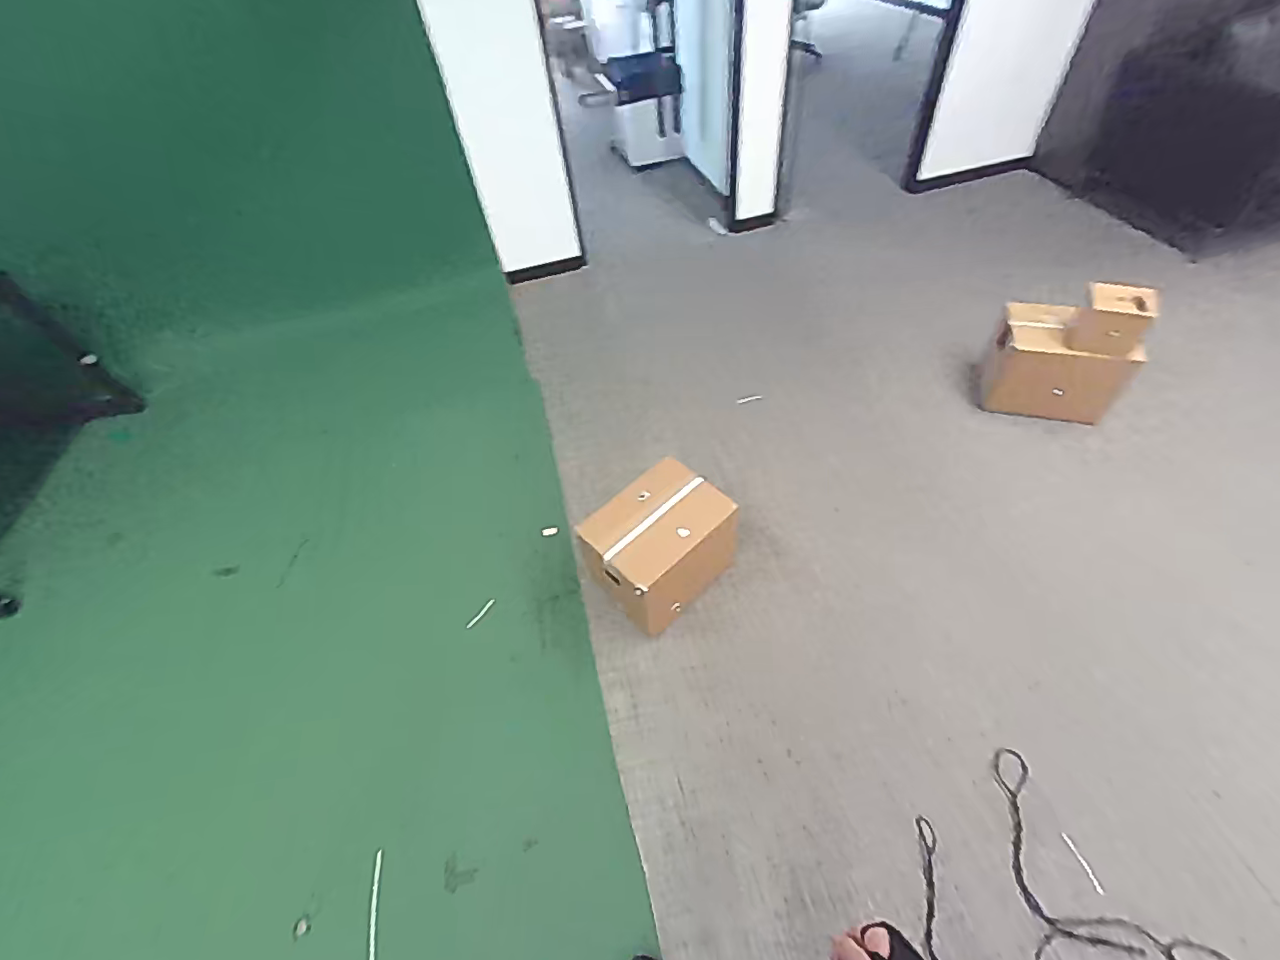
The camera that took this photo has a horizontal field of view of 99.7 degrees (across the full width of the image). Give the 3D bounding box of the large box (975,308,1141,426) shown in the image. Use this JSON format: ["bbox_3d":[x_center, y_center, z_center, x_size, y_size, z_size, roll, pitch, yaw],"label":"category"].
[{"bbox_3d":[1.593,-0.441,2.108,0.408,0.320,0.320,9,51,16],"label":"large box"}]
